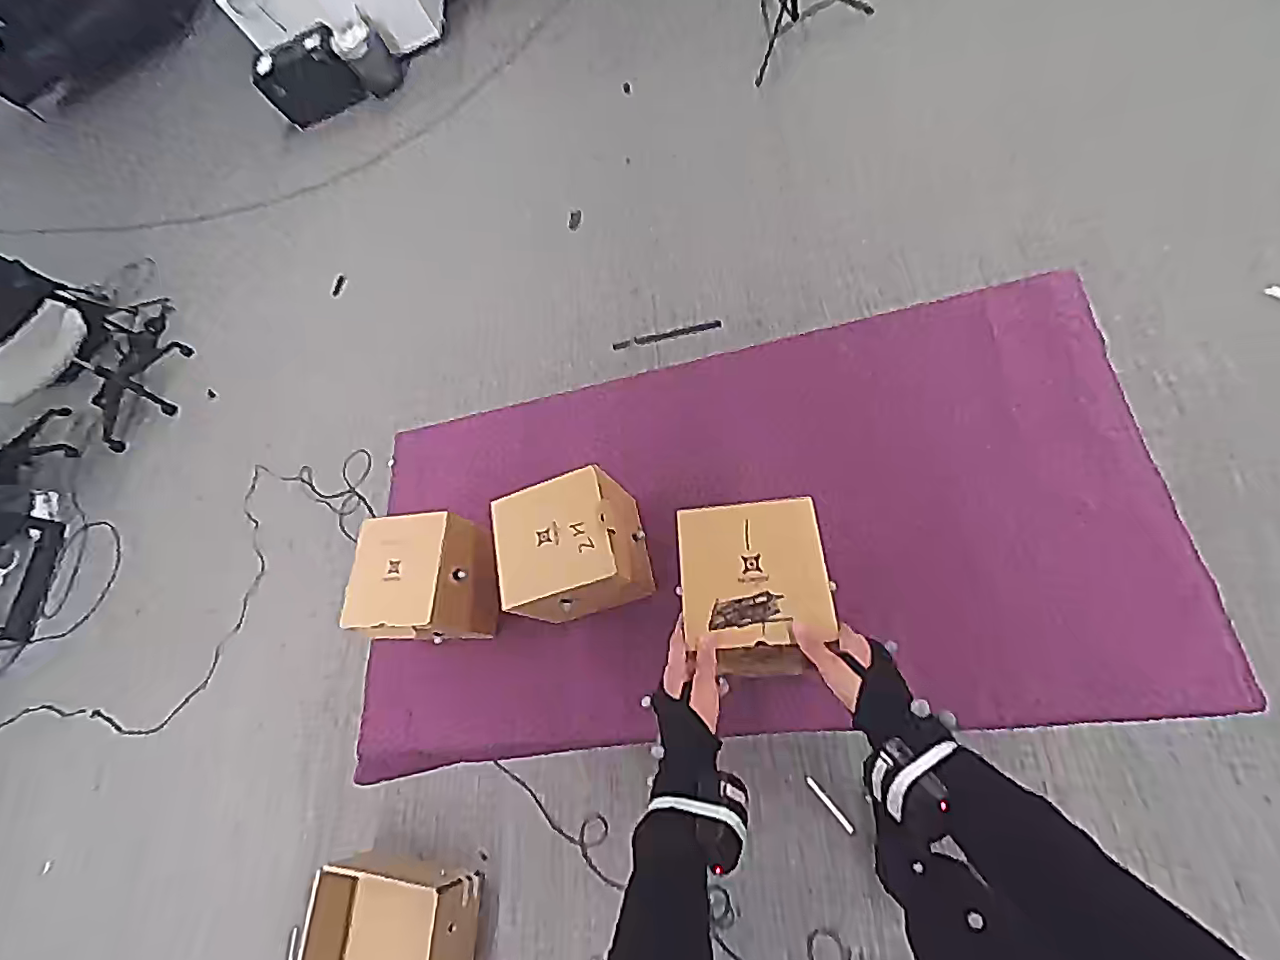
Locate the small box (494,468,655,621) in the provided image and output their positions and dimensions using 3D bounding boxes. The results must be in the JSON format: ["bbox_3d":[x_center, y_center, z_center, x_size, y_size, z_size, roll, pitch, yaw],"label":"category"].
[{"bbox_3d":[-0.096,0.108,0.821,0.179,0.176,0.168,-19,65,12],"label":"small box"}]

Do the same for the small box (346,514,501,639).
[{"bbox_3d":[-0.340,0.167,0.891,0.168,0.176,0.179,-6,67,18],"label":"small box"}]

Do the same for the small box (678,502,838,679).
[{"bbox_3d":[0.144,0.149,0.683,0.168,0.176,0.179,-6,58,9],"label":"small box"}]
